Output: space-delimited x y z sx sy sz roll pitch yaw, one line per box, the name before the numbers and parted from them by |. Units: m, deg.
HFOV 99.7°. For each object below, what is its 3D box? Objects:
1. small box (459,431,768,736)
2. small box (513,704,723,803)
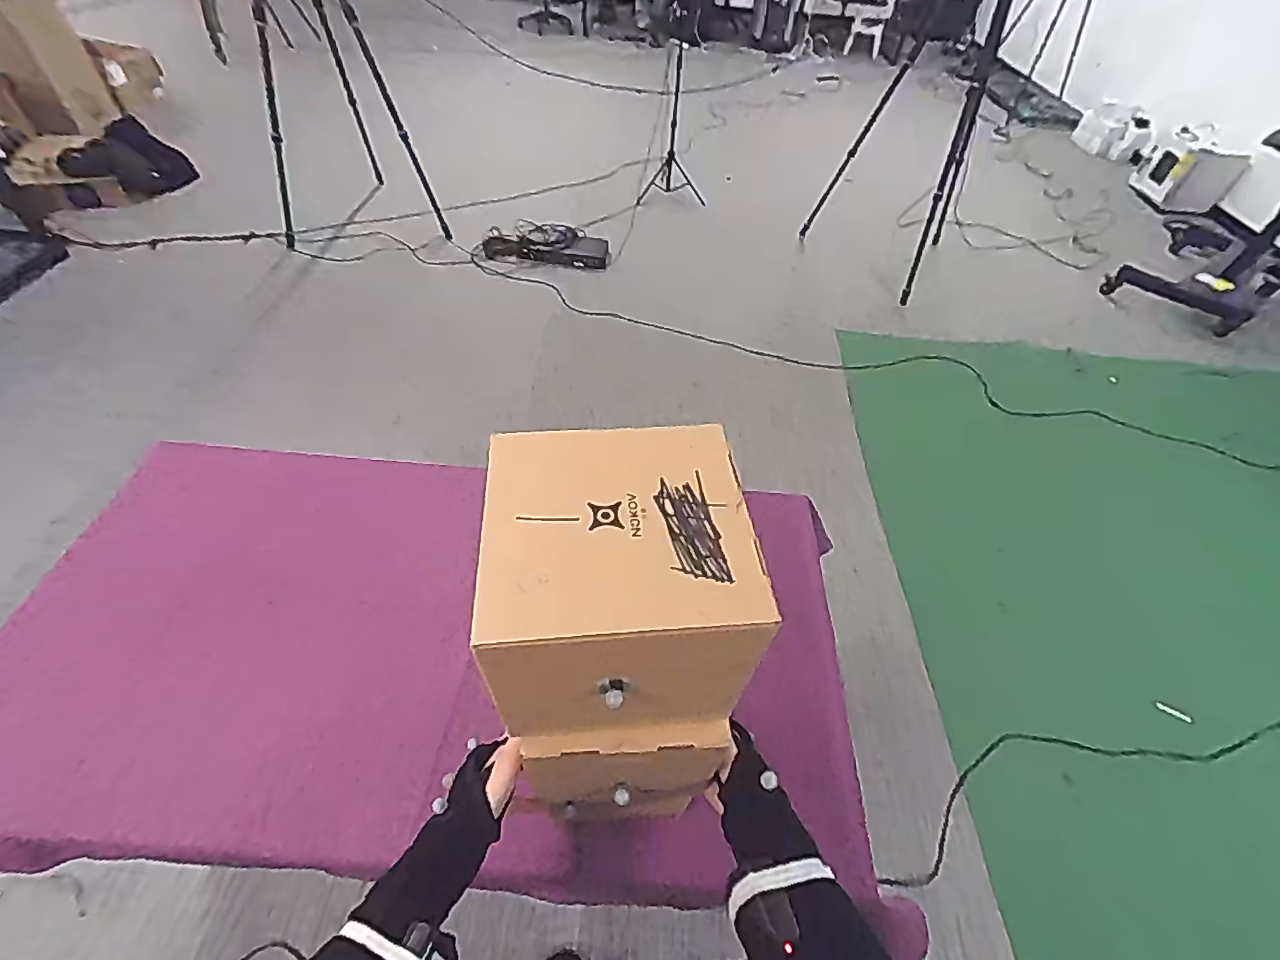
small box | -0.023 0.080 0.410 0.179 0.176 0.168 -2 49 -6
small box | -0.024 0.196 0.527 0.168 0.176 0.179 0 49 -4
